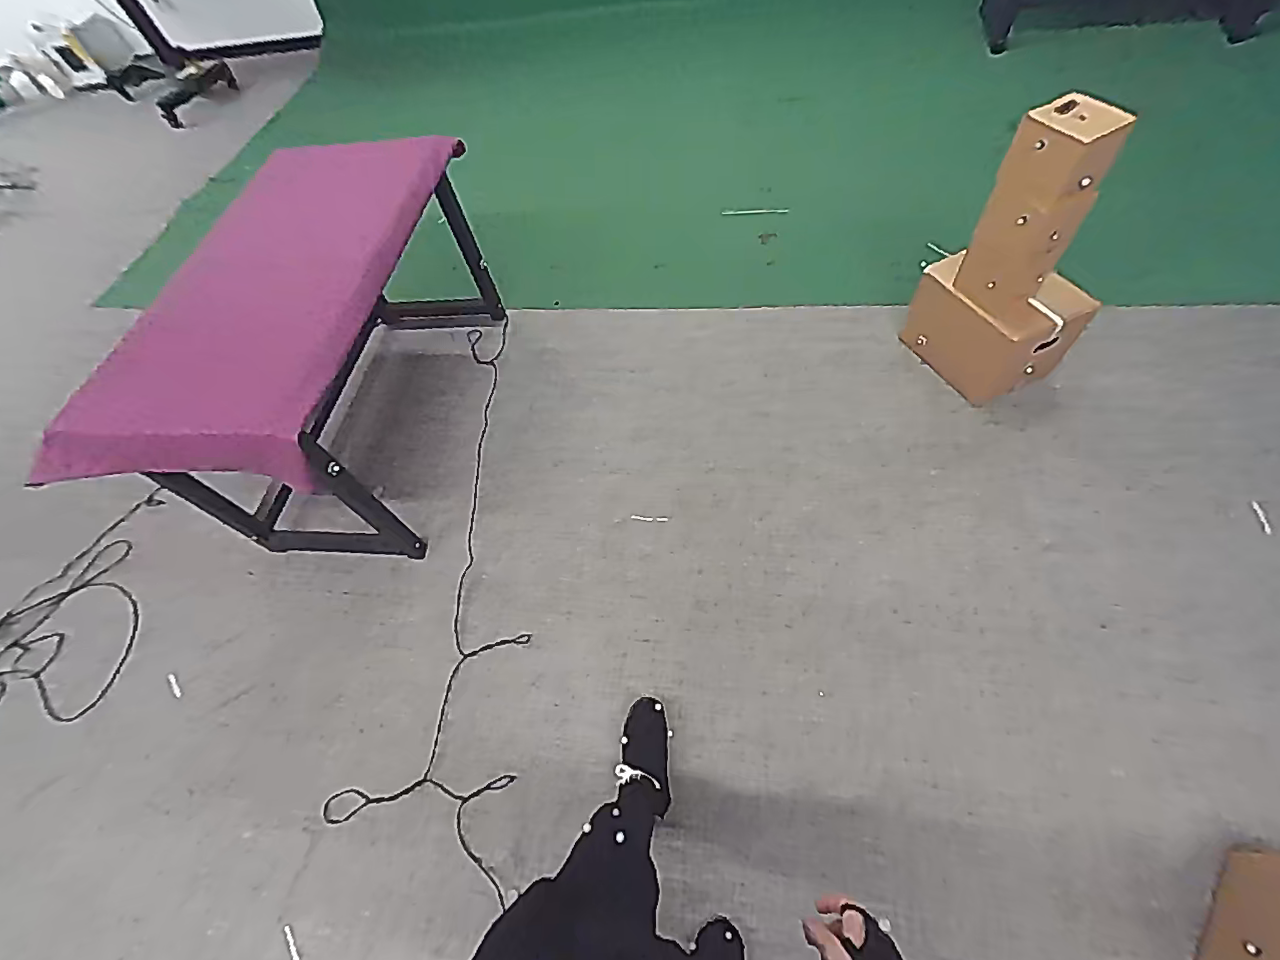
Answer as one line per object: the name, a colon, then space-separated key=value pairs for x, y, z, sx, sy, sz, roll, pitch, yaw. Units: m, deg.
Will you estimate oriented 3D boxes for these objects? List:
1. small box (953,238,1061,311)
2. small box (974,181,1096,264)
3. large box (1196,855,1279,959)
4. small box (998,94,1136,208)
small box: x=1.088 y=-0.632 z=1.618 sx=0.168 sy=0.176 sz=0.179 roll=-24 pitch=58 yaw=-7
small box: x=1.067 y=-0.718 z=1.479 sx=0.168 sy=0.176 sz=0.179 roll=-22 pitch=58 yaw=-7
large box: x=1.245 y=0.943 z=0.921 sx=0.320 sy=0.320 sz=0.408 roll=33 pitch=67 yaw=23
small box: x=1.050 y=-0.818 z=1.350 sx=0.168 sy=0.176 sz=0.179 roll=-27 pitch=60 yaw=-9
